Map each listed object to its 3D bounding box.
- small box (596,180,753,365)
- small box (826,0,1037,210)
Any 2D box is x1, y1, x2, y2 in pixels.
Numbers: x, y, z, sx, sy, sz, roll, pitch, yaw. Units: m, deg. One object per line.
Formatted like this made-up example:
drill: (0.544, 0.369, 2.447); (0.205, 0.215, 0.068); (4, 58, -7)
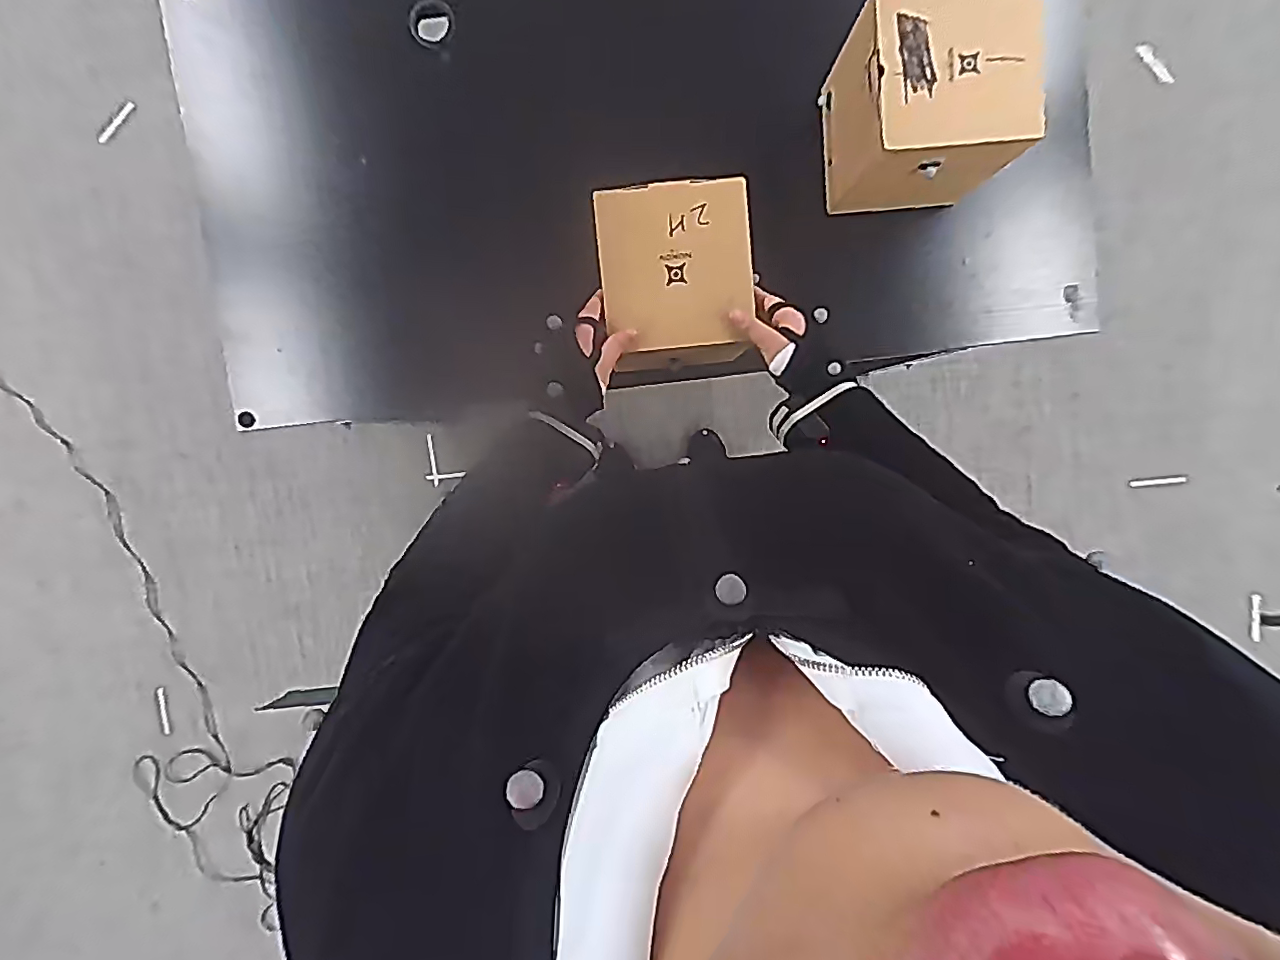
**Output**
small box: (0.040, -0.241, 0.674); (0.168, 0.176, 0.179); (-5, 94, 0)
small box: (0.335, -0.446, 0.655); (0.179, 0.176, 0.168); (-4, 95, 0)
